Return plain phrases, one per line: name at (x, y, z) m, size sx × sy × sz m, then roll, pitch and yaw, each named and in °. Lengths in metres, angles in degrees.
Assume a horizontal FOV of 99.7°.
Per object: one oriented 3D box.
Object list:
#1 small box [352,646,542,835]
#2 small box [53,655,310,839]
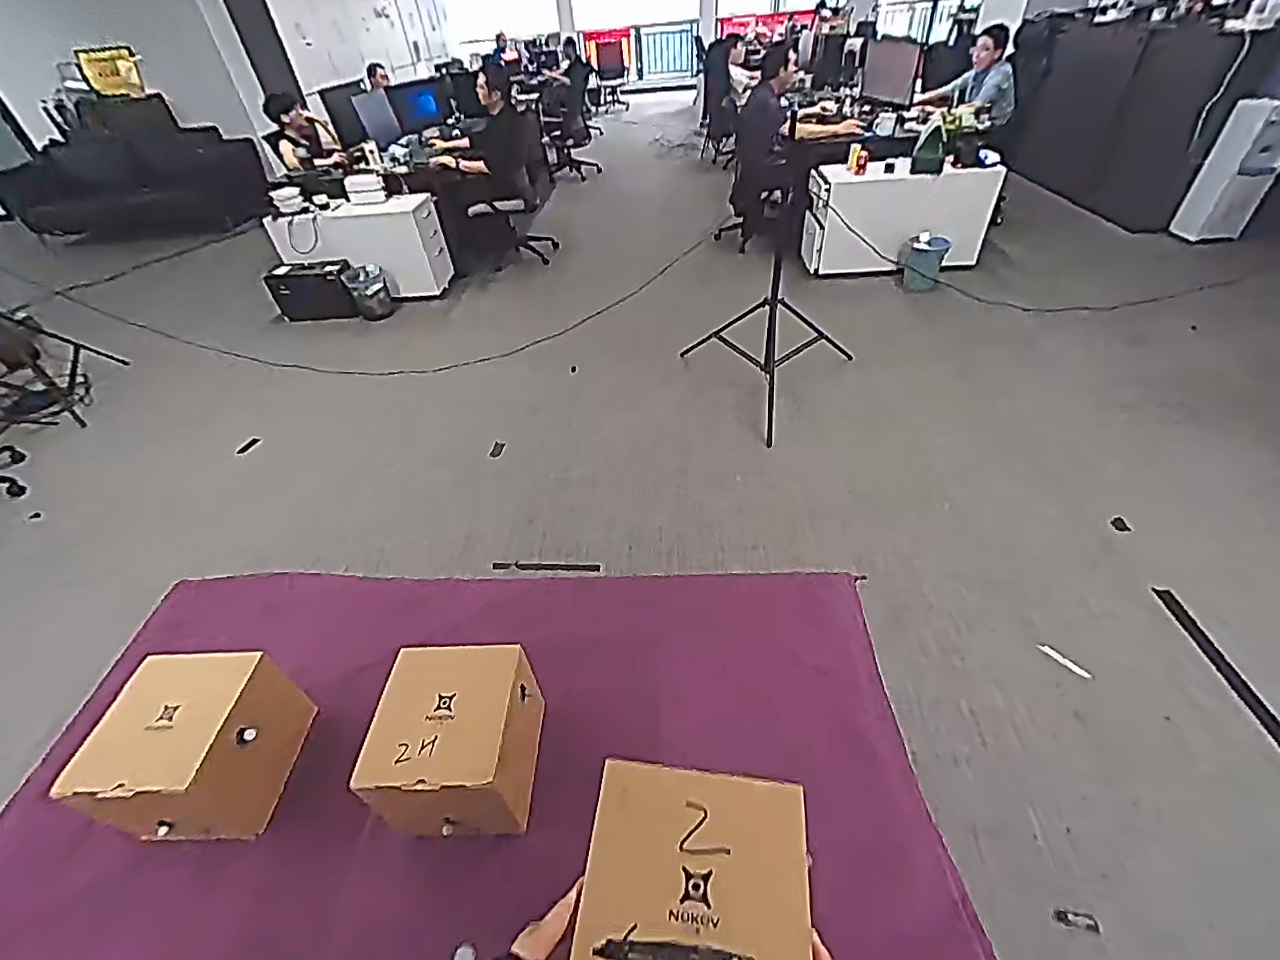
small box at (-0.231, 0.339, 0.707) m, size 0.168 × 0.176 × 0.179 m, roll -3°, pitch 42°, yaw 4°
small box at (-0.584, 0.358, 0.726) m, size 0.168 × 0.176 × 0.179 m, roll -3°, pitch 43°, yaw 2°
